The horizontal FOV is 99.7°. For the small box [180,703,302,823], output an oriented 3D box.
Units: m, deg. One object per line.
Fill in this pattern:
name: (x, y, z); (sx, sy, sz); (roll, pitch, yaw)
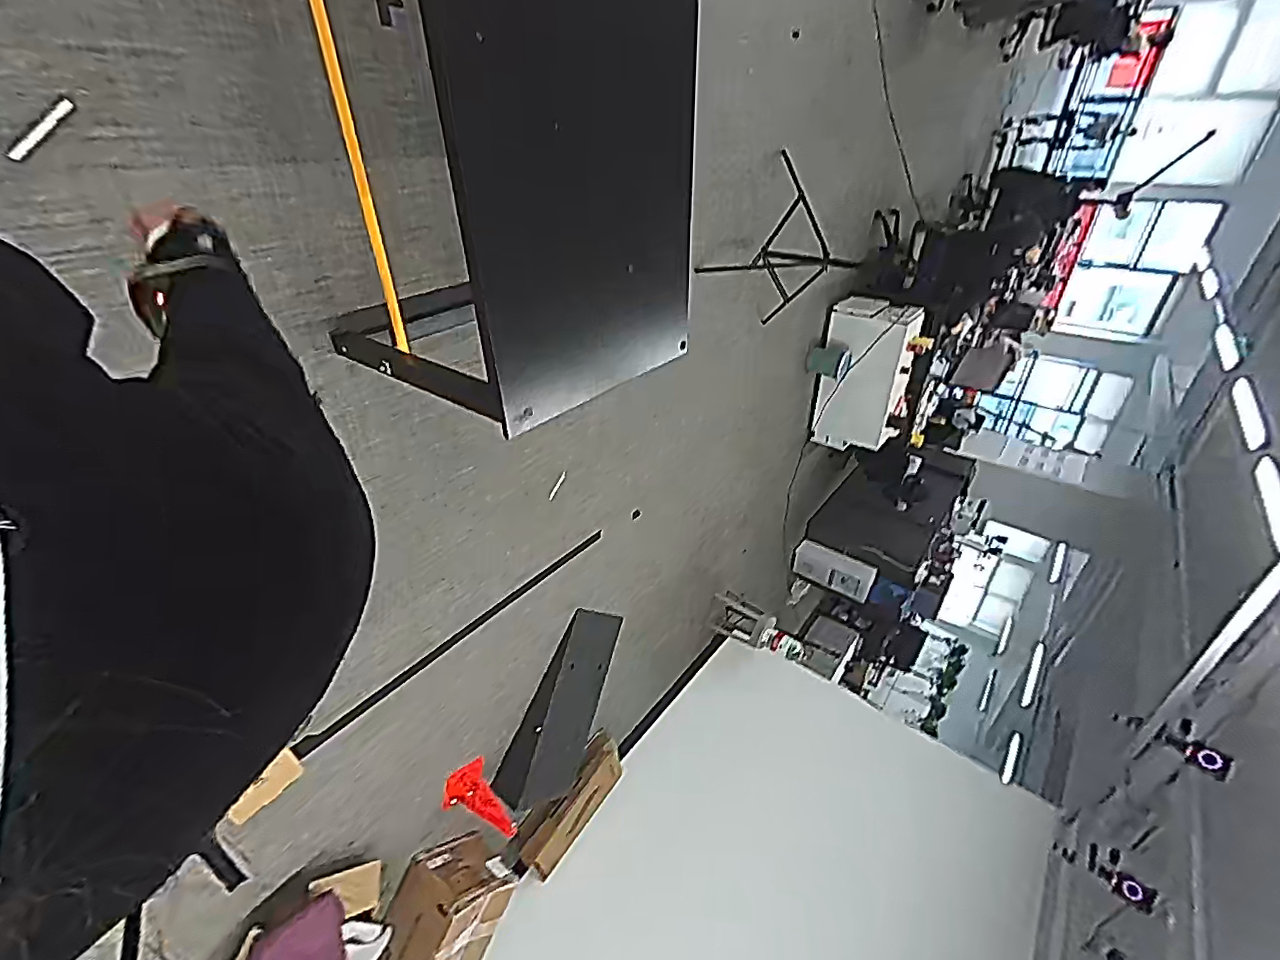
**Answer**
small box: (-0.998, 0.701, 1.357); (0.168, 0.176, 0.179); (-39, 137, -39)
